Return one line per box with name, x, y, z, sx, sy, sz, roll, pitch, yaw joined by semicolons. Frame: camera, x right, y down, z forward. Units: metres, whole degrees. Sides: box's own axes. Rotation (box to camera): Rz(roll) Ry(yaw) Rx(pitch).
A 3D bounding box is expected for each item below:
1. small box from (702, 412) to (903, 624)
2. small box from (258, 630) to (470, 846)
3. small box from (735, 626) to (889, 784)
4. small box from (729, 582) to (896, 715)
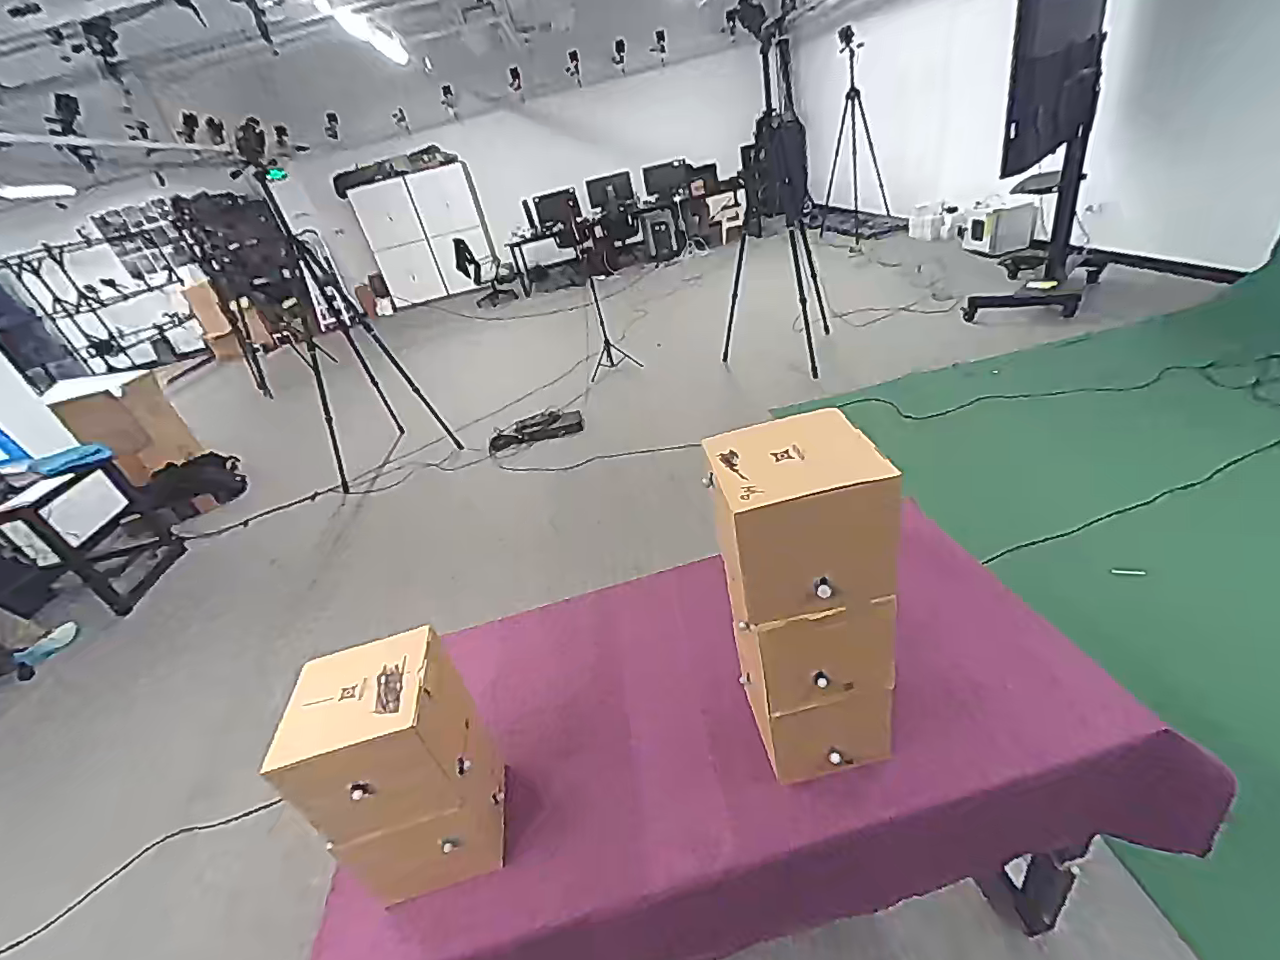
small box;0.182;0.043;0.641;0.179;0.176;0.168;-13;32;1
small box;-0.337;0.333;0.707;0.179;0.176;0.168;-17;31;-4
small box;0.251;0.314;0.813;0.168;0.176;0.179;-15;32;0
small box;0.219;0.178;0.728;0.168;0.176;0.179;-14;32;0
